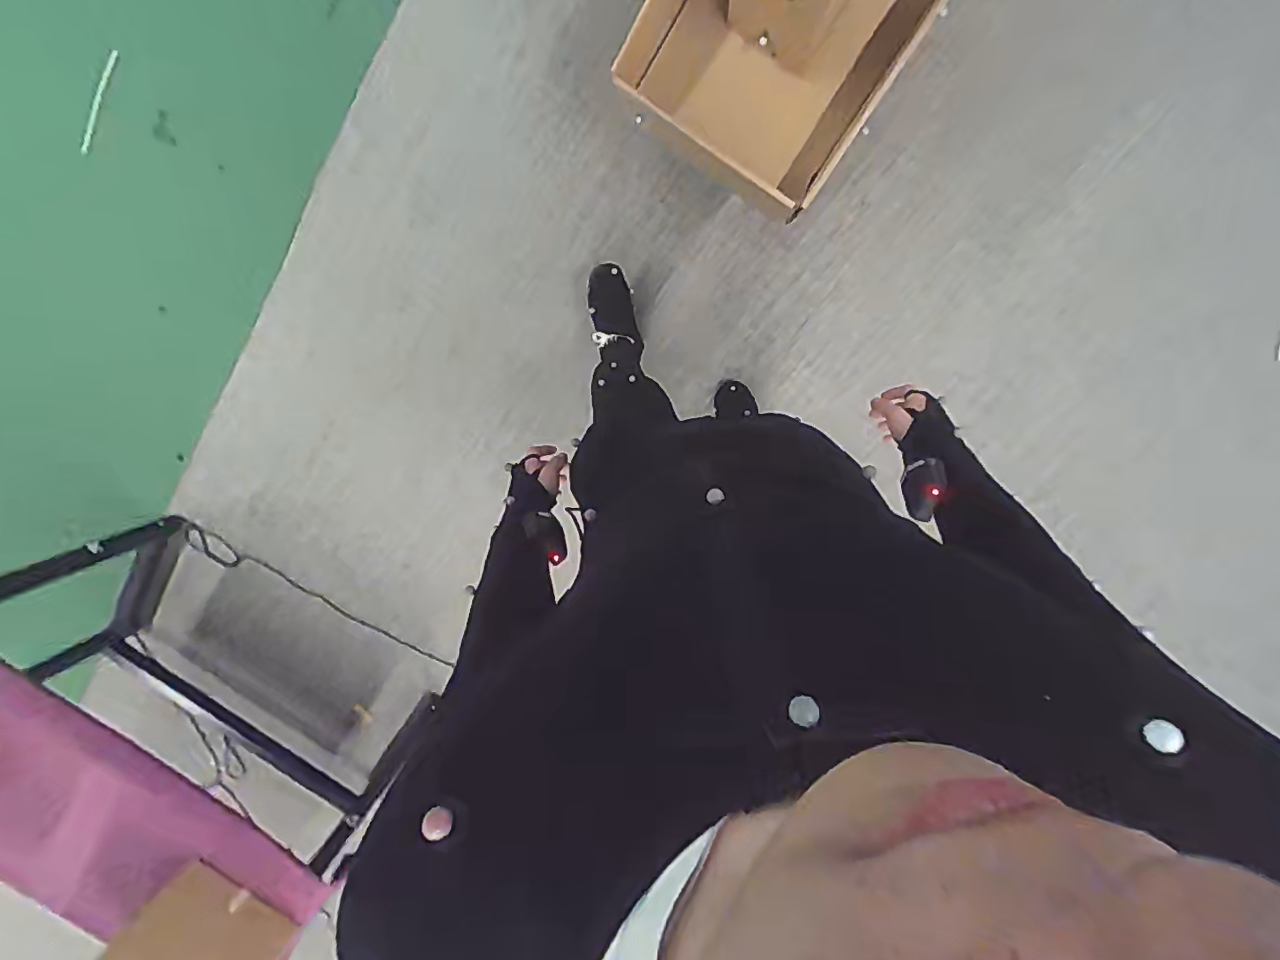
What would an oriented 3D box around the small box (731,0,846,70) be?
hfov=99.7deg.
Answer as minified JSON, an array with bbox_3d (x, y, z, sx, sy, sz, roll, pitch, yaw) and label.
[{"bbox_3d":[0.257,-0.820,0.863,0.168,0.176,0.179,34,106,-3],"label":"small box"}]
